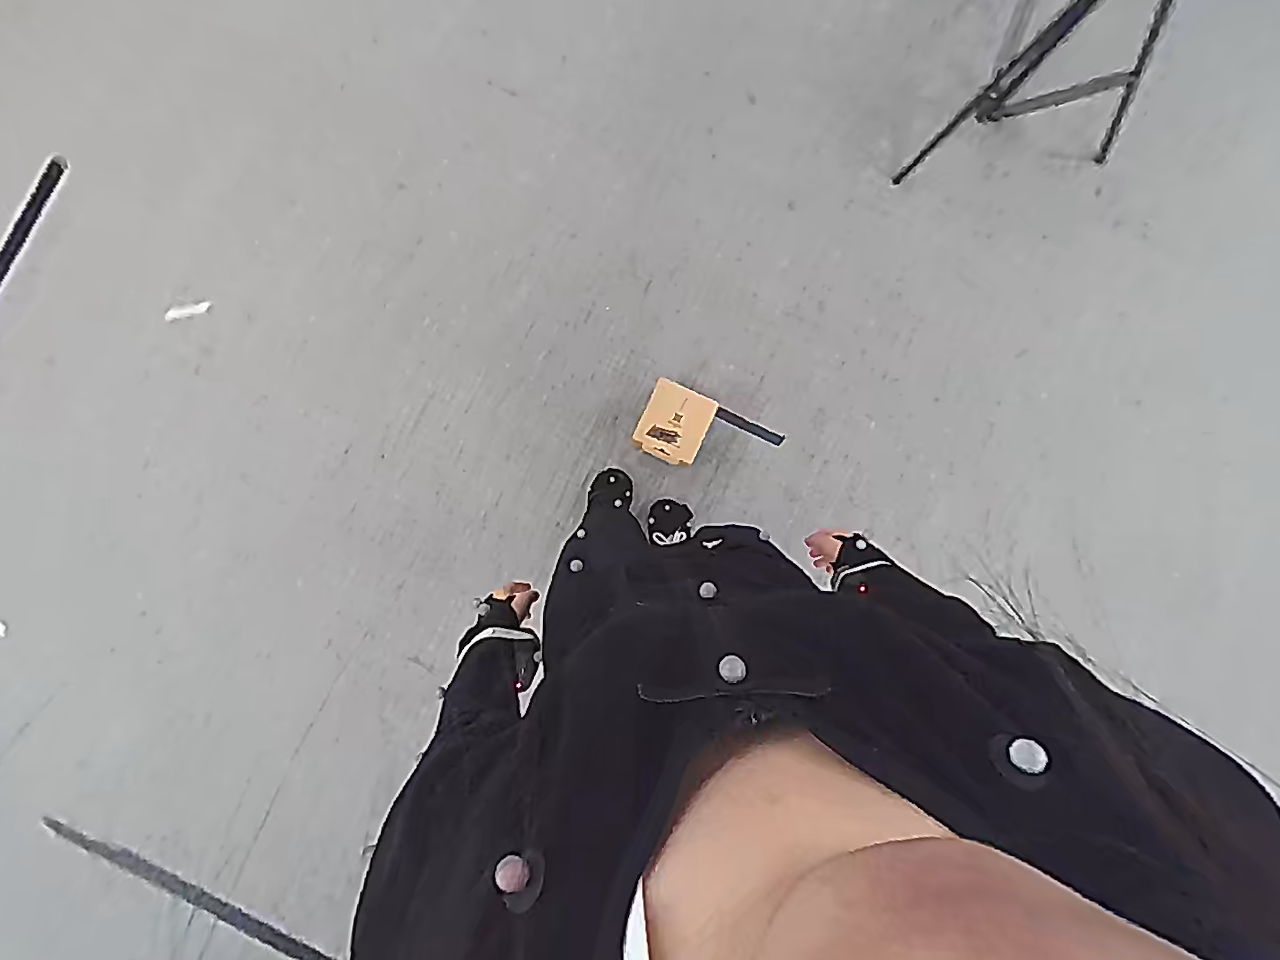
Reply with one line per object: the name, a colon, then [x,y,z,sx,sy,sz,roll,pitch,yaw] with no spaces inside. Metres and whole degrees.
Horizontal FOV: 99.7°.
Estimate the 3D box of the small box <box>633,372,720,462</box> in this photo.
small box: [0.093,-0.158,1.432,0.168,0.176,0.179,25,88,0]
